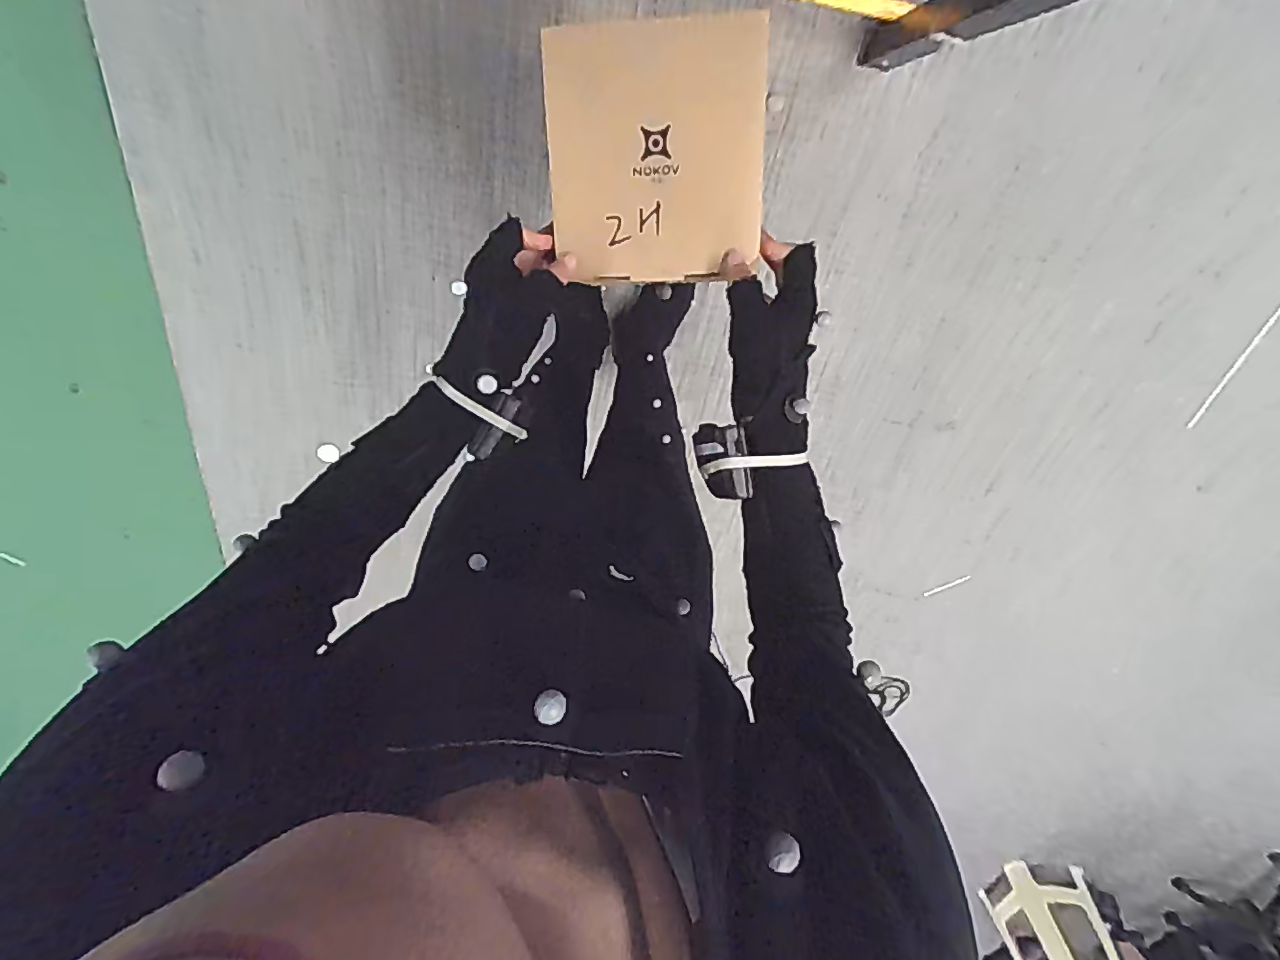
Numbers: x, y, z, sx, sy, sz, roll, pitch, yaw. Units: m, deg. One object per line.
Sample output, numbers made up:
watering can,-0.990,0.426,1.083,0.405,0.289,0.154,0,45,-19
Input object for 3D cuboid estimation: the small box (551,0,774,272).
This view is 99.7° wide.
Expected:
small box,0.023,-0.287,0.493,0.168,0.176,0.179,1,111,7
